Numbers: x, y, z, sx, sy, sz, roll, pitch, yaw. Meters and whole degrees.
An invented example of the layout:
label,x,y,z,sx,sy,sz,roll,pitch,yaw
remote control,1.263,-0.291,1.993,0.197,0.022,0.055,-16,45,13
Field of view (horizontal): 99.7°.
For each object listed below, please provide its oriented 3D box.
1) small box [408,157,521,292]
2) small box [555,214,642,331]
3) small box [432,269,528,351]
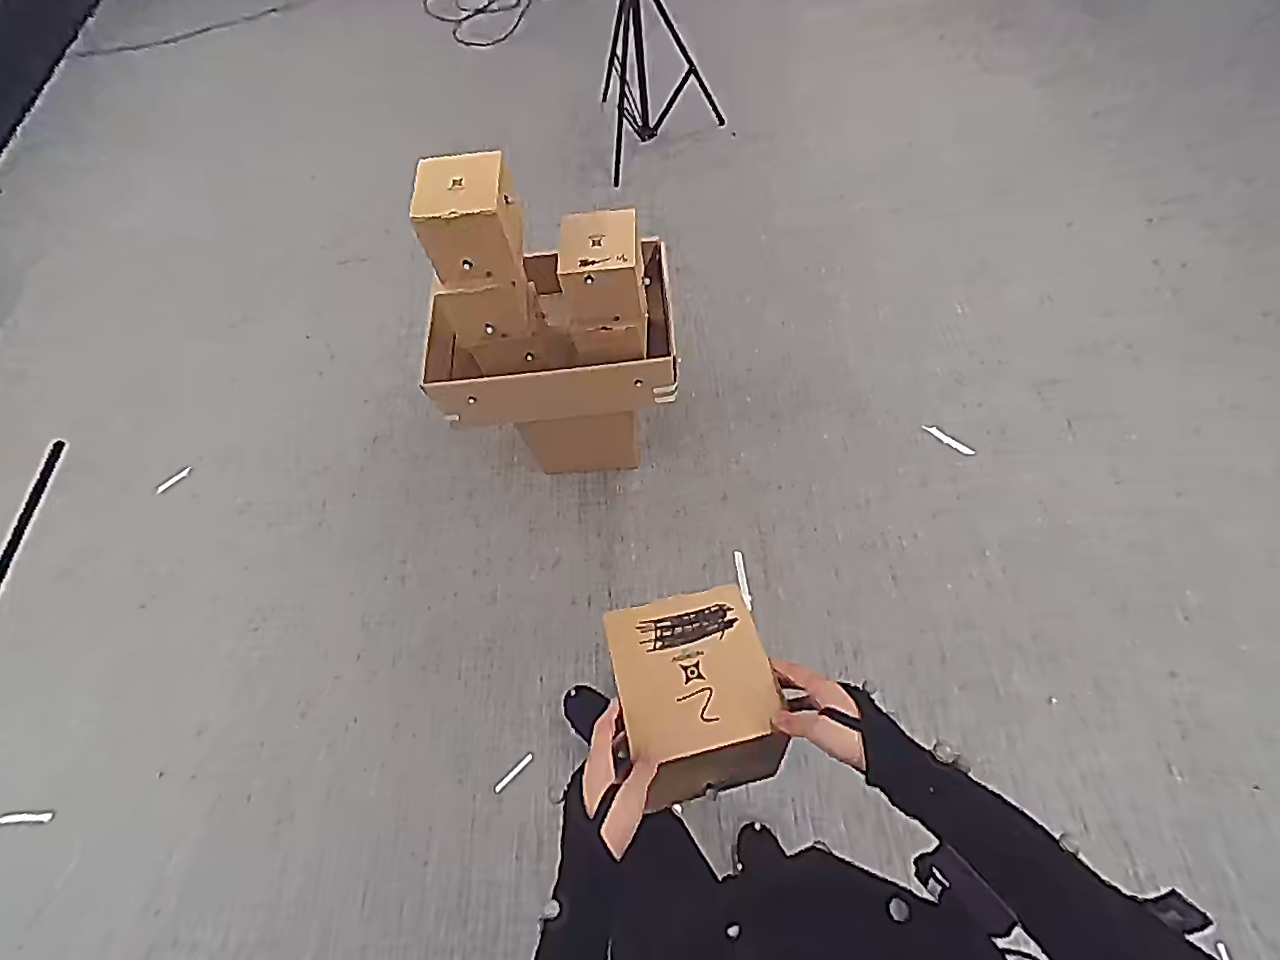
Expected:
label,x,y,z,sx,sy,sz,roll,pitch,yaw
small box,-0.342,-0.508,1.086,0.168,0.176,0.179,-6,64,1
small box,-0.085,-0.459,1.209,0.168,0.176,0.179,-3,64,5
small box,-0.356,-0.422,1.226,0.168,0.176,0.179,-9,64,0
